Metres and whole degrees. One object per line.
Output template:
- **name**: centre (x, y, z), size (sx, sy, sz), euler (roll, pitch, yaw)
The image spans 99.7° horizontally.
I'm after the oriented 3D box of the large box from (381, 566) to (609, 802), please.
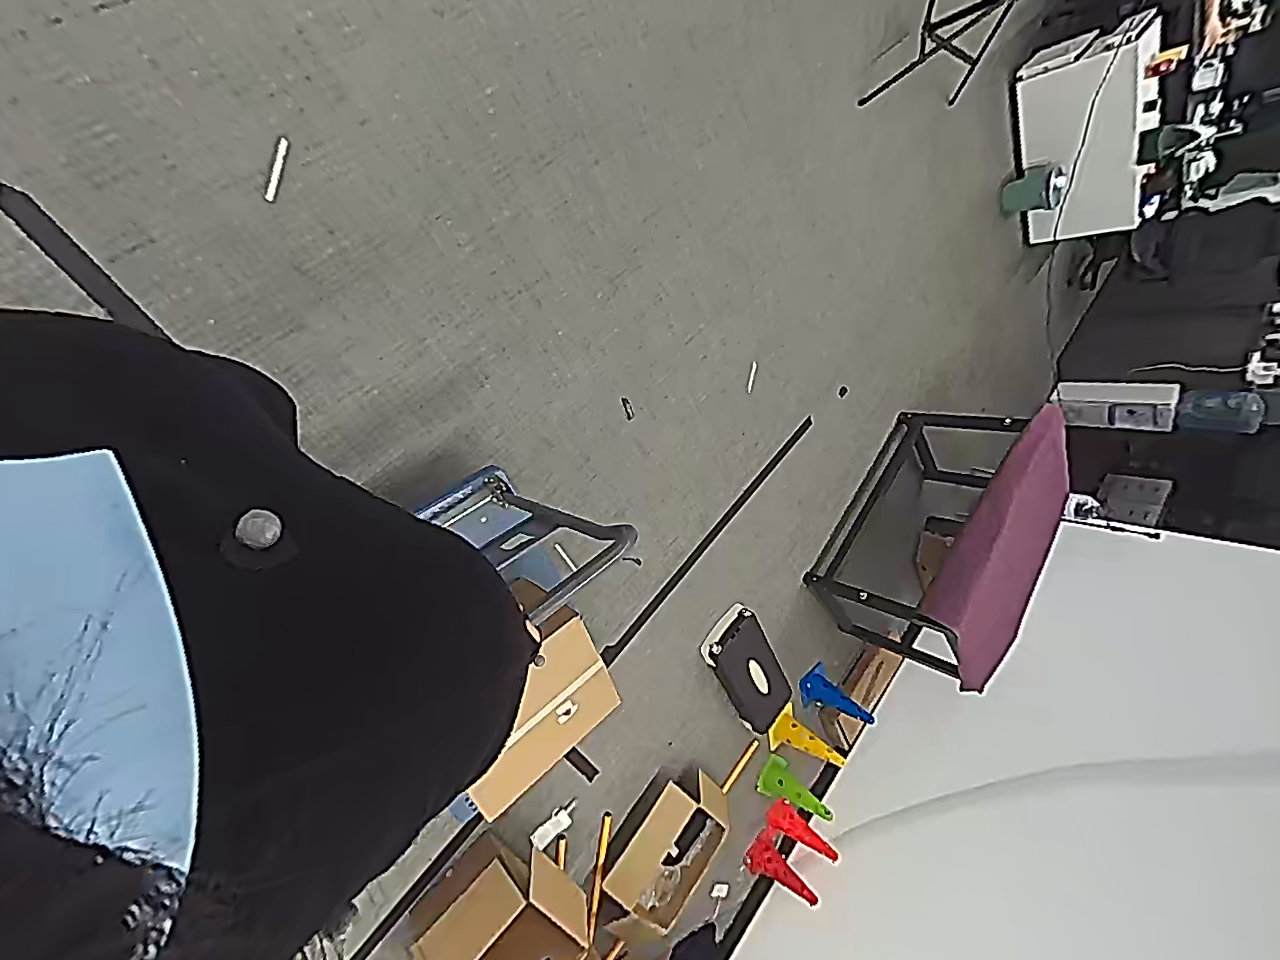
- **large box**: centre (-0.361, 0.487, 1.375), size (0.408, 0.320, 0.320), euler (-35, 120, -29)
